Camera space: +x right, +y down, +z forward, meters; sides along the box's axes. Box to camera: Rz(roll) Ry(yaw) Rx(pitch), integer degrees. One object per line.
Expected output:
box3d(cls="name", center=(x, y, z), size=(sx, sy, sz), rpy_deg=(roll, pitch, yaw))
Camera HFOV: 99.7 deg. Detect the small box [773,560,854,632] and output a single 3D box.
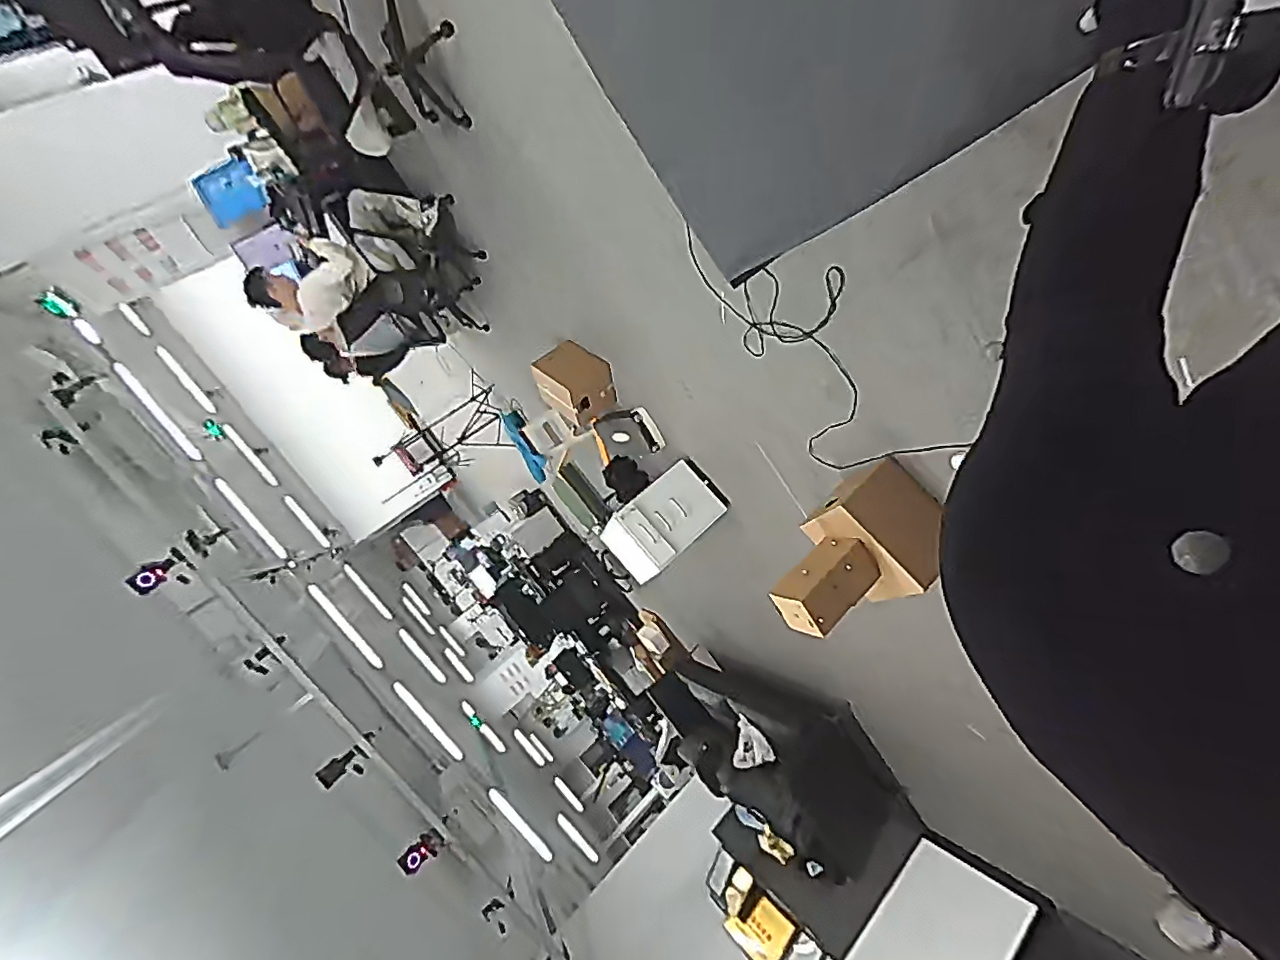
box3d(cls="small box", center=(0.613, 0.403, 1.913), size=(0.168, 0.176, 0.179), rpy_deg=(54, 160, -13))
